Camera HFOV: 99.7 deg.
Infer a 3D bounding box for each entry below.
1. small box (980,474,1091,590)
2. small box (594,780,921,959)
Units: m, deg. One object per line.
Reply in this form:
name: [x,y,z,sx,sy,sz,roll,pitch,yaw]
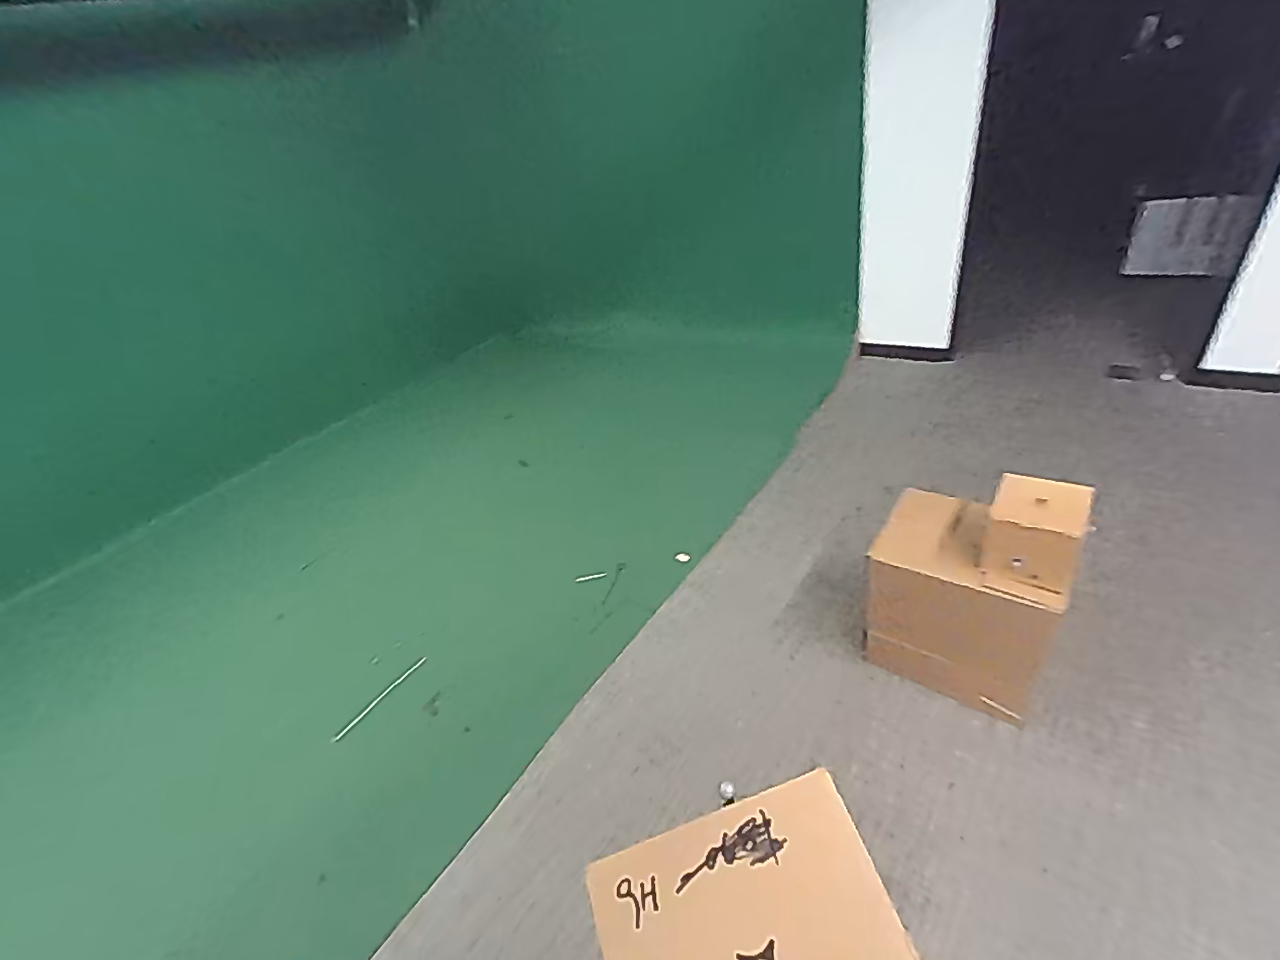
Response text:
small box: [0.887,0.114,1.221,0.168,0.176,0.179,14,45,37]
small box: [0.086,0.320,0.359,0.168,0.176,0.179,-21,58,-2]
